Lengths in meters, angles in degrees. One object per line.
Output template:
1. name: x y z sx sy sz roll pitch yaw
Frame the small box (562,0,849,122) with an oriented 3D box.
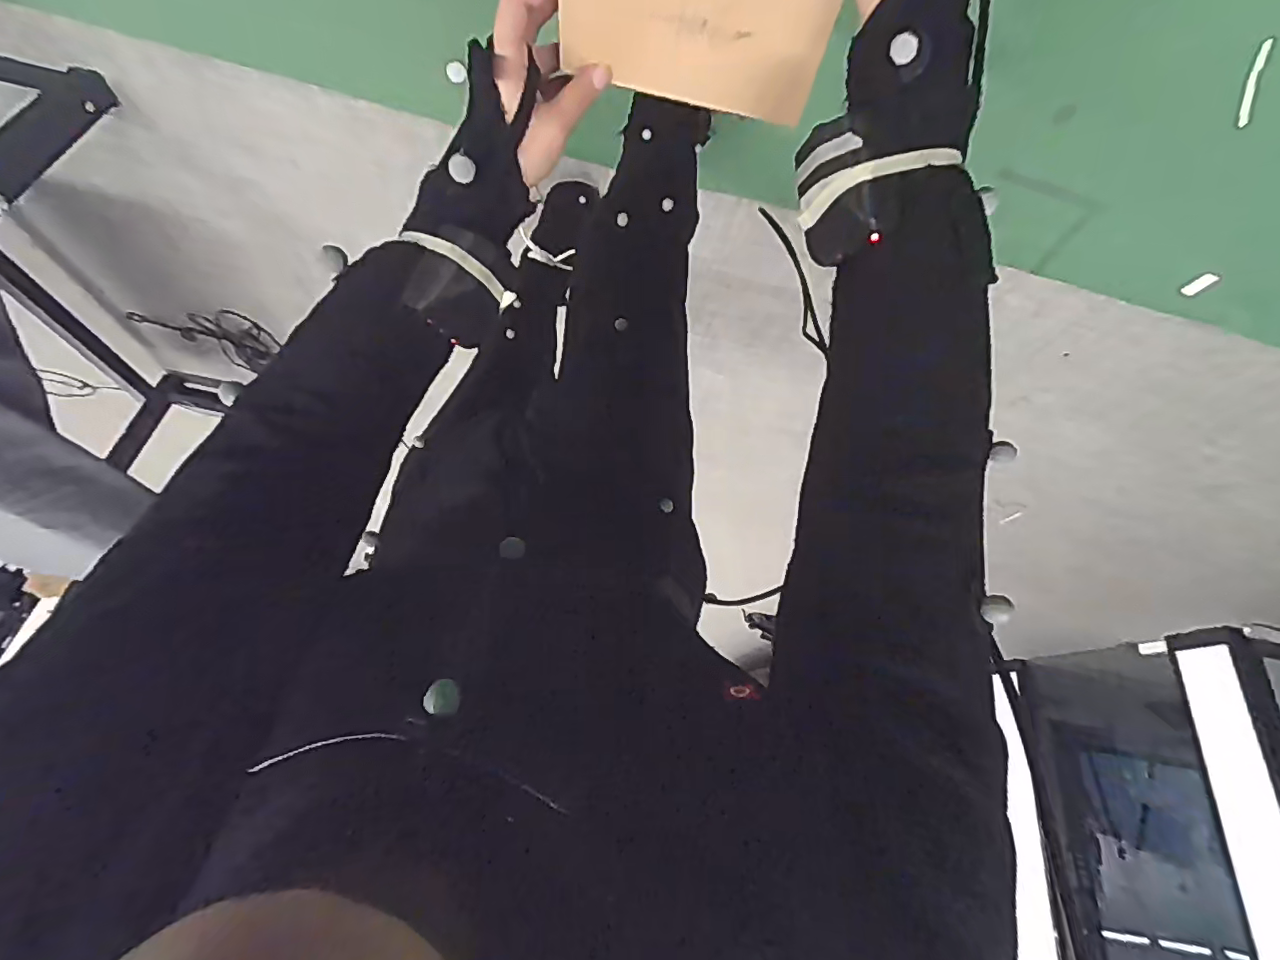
1. small box: 0.053 -0.361 0.315 0.168 0.176 0.179 13 154 0
